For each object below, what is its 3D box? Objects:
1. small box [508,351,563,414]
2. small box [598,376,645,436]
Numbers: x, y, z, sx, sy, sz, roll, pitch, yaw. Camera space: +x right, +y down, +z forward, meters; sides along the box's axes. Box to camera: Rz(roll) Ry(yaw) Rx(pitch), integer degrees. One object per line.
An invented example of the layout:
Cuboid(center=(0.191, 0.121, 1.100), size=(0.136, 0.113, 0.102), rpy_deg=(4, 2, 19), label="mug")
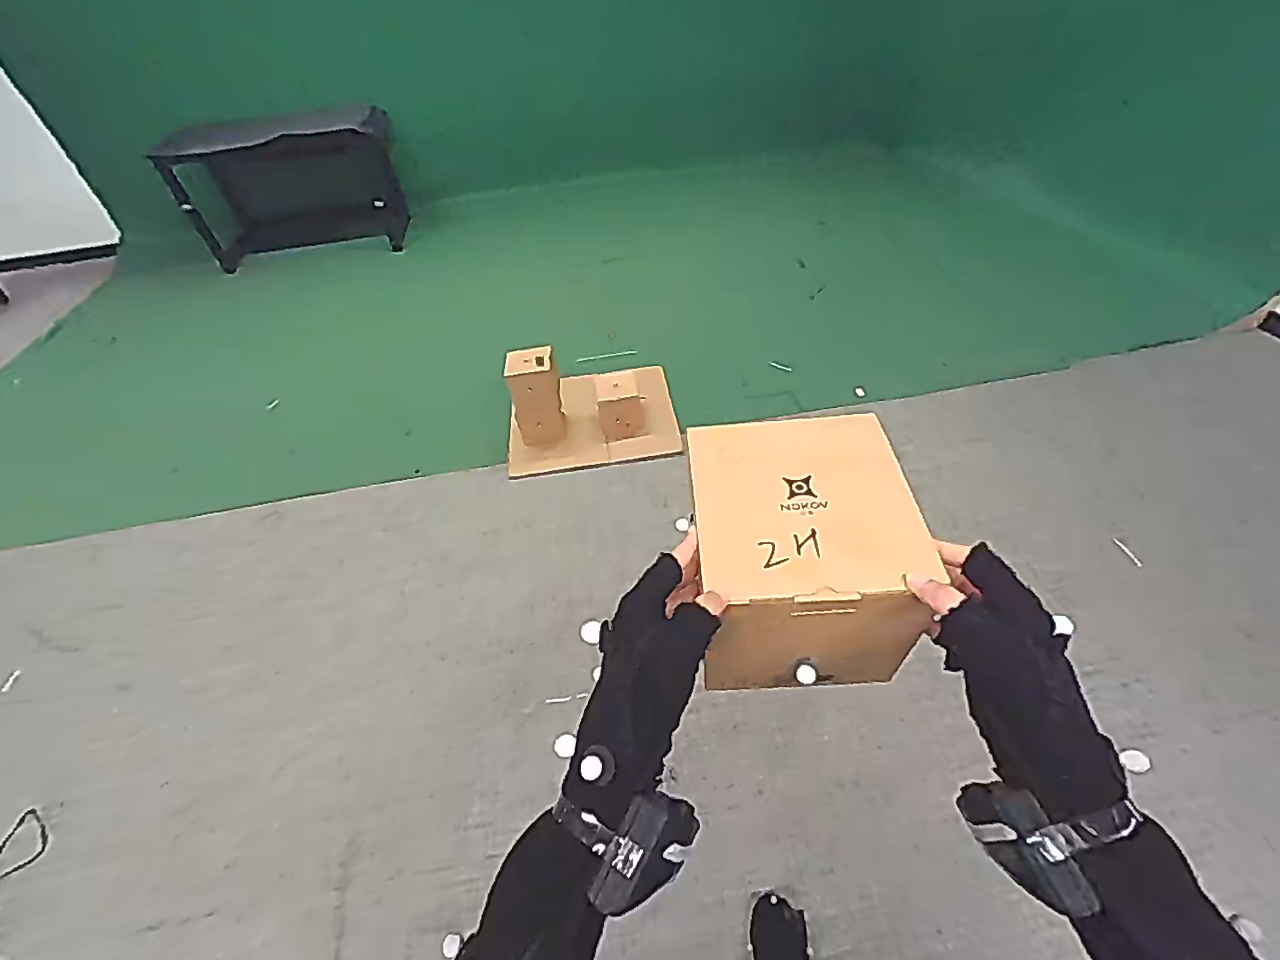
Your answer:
Cuboid(center=(-0.400, -0.377, 2.105), size=(0.179, 0.176, 0.168), rpy_deg=(-8, 45, 2), label="small box")
Cuboid(center=(-0.076, -0.304, 2.230), size=(0.168, 0.176, 0.179), rpy_deg=(-10, 46, -2), label="small box")
